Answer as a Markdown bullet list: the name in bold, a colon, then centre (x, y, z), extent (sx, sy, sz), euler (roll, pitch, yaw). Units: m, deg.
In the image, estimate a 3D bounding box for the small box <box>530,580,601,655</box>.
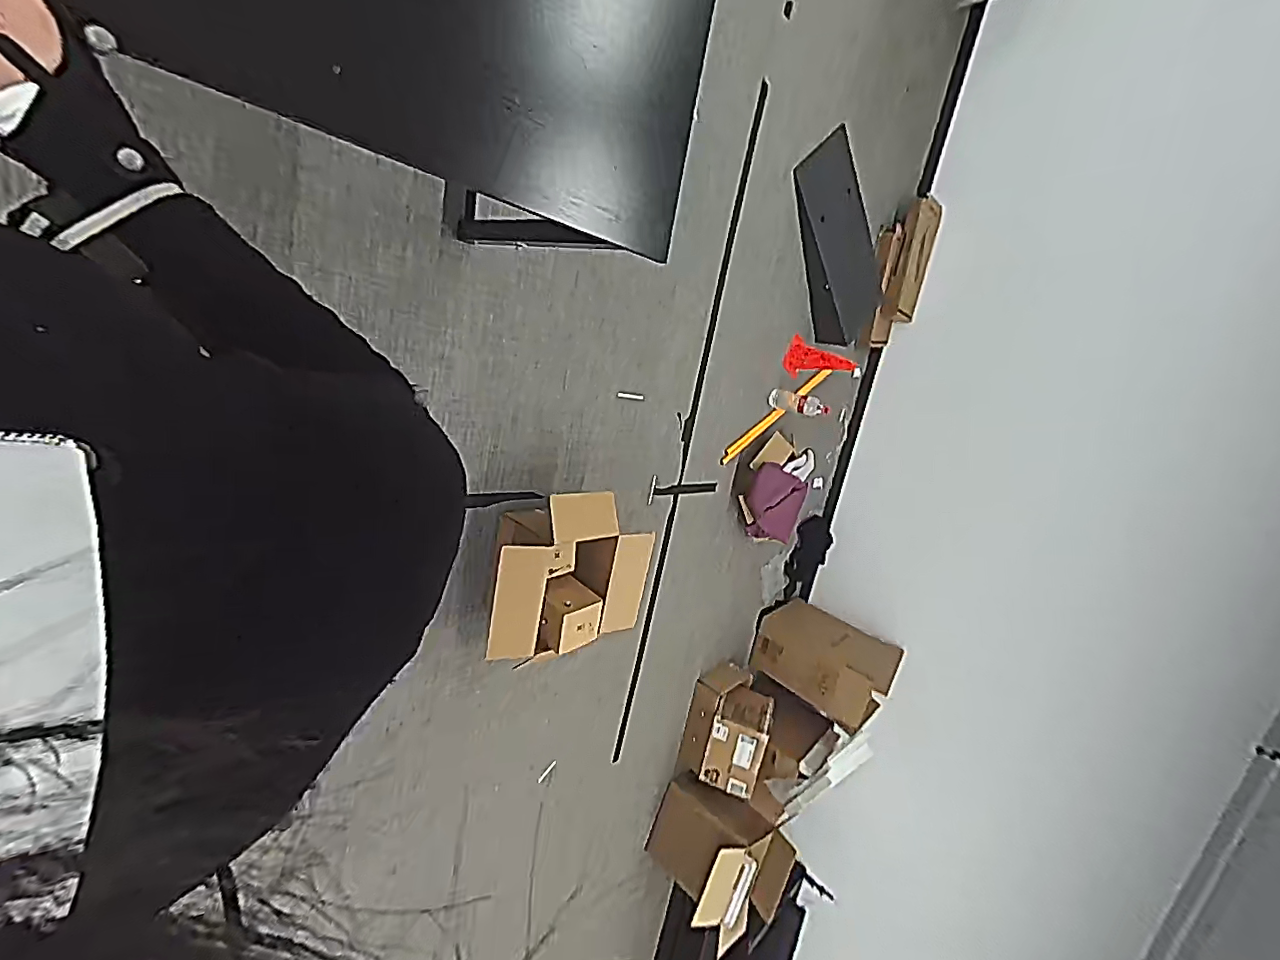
- **small box**: centre (-0.266, 0.476, 1.896), extent (0.179, 0.176, 0.168), euler (-11, 119, -46)
